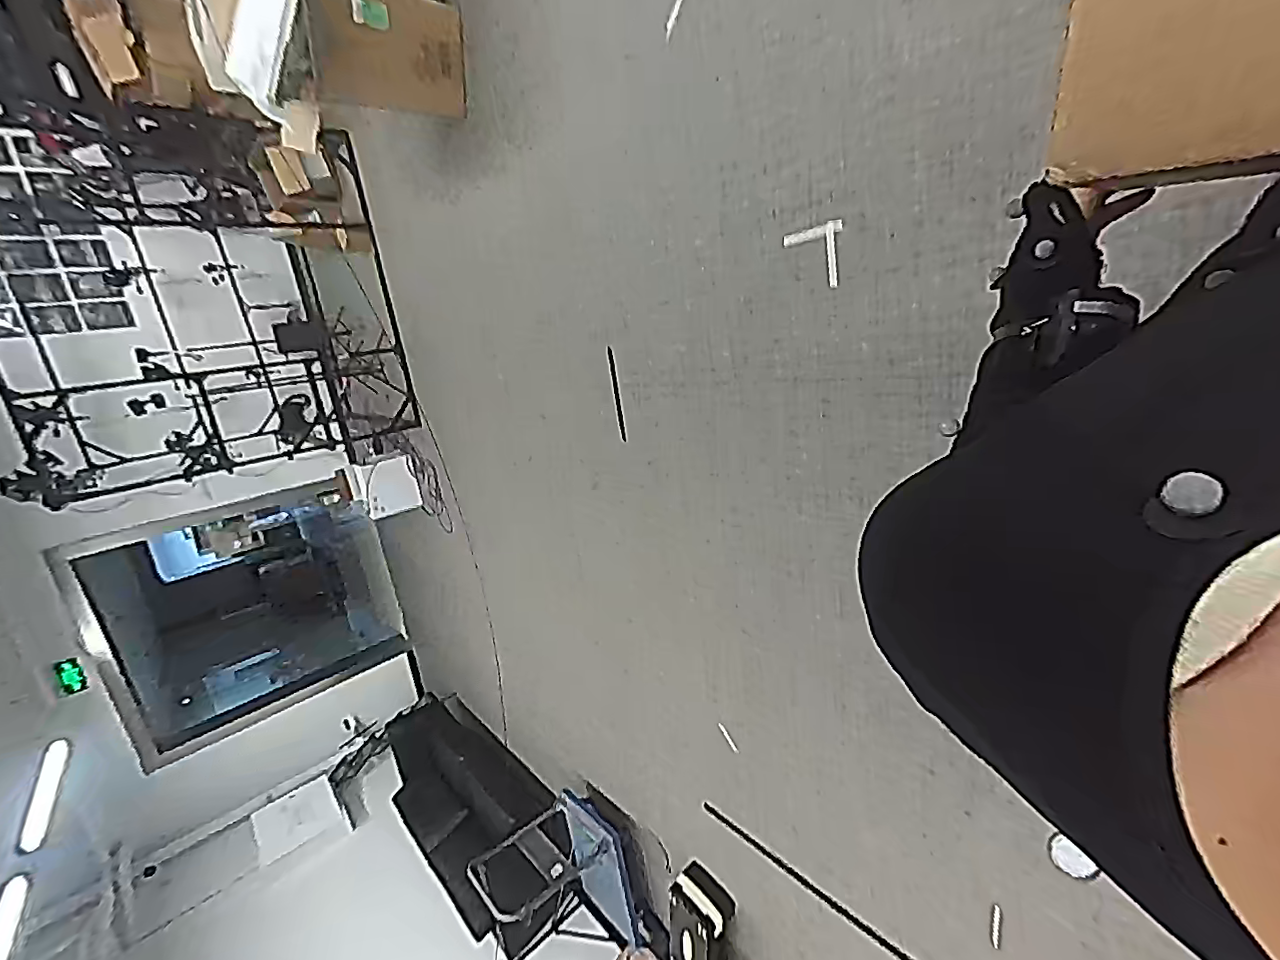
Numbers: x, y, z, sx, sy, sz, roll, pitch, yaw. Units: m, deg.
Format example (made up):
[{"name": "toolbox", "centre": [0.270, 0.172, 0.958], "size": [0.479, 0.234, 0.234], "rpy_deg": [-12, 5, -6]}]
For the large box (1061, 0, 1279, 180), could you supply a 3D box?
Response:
[{"name": "large box", "centre": [0.424, -0.309, 0.172], "size": [0.408, 0.320, 0.320], "rpy_deg": [14, 120, 41]}]
